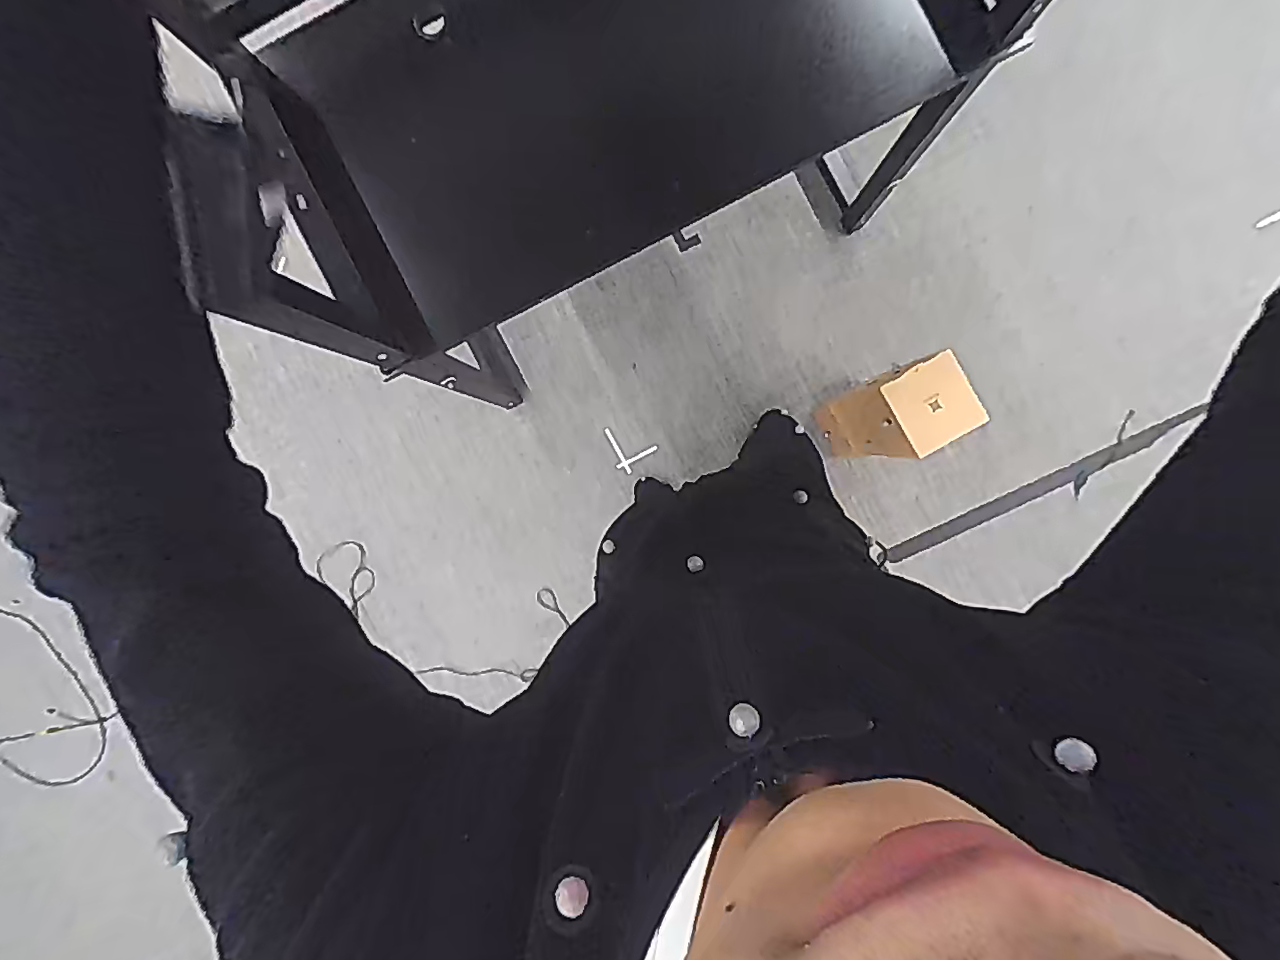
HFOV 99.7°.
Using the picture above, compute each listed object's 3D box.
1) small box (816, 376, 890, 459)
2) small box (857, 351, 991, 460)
[{"bbox_3d":[0.628,-0.172,1.523,0.179,0.176,0.168,-29,90,4],"label":"small box"},{"bbox_3d":[0.617,-0.158,1.196,0.168,0.176,0.179,-30,90,4],"label":"small box"}]
